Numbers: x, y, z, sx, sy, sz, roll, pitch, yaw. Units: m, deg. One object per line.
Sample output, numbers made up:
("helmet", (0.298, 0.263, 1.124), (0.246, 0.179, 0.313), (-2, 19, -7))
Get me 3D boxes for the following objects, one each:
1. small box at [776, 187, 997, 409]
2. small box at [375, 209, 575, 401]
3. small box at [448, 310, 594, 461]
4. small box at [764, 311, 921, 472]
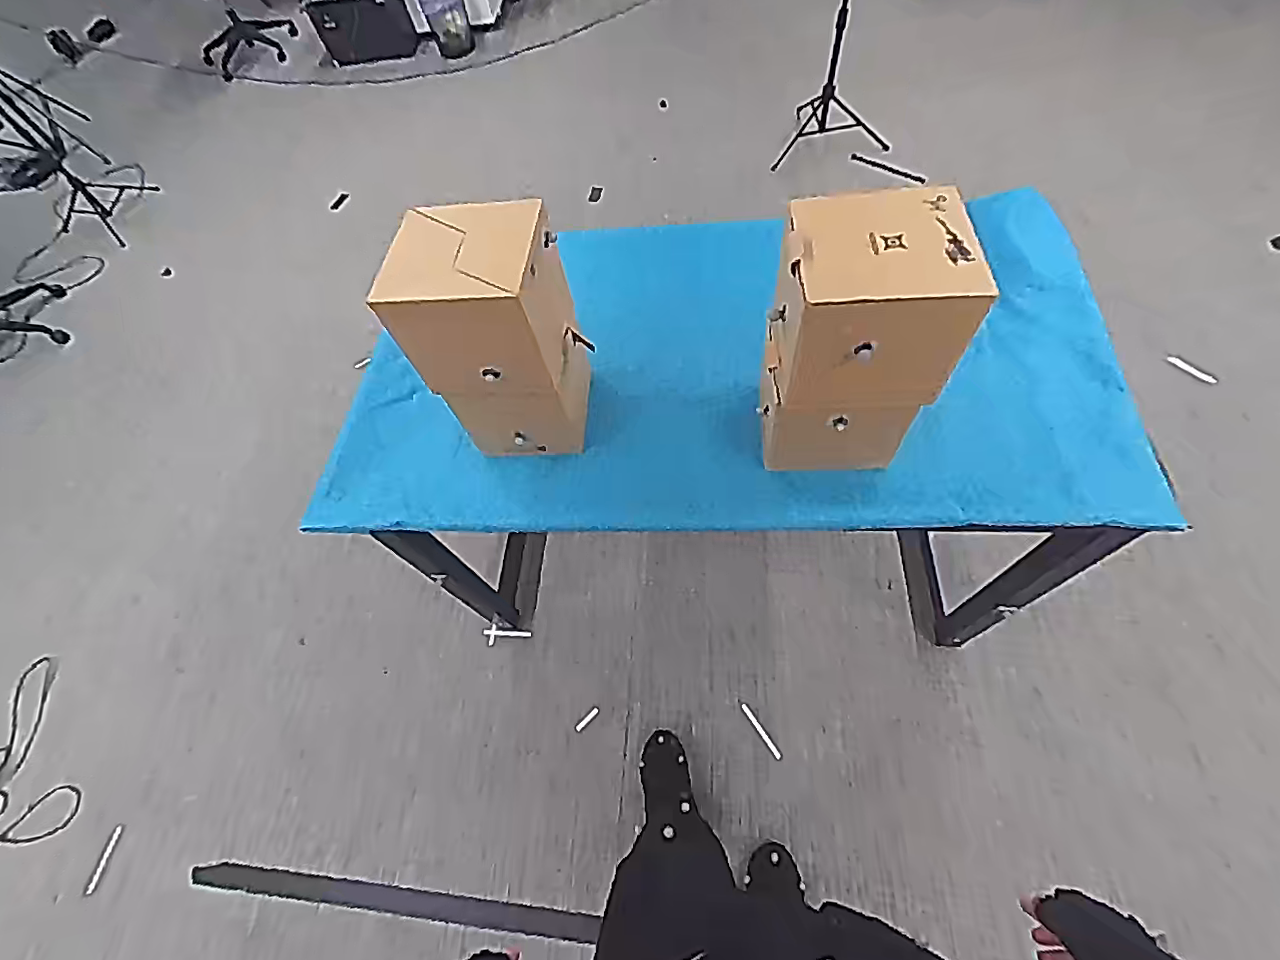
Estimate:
("small box", (0.252, -0.194, 0.609), (0.179, 0.176, 0.168), (-4, 60, 6))
("small box", (-0.195, -0.218, 0.688), (0.179, 0.176, 0.168), (1, 61, 8))
("small box", (-0.175, -0.148, 0.839), (0.168, 0.176, 0.179), (1, 63, 11))
("small box", (0.266, -0.120, 0.754), (0.179, 0.176, 0.168), (-1, 61, 9))
